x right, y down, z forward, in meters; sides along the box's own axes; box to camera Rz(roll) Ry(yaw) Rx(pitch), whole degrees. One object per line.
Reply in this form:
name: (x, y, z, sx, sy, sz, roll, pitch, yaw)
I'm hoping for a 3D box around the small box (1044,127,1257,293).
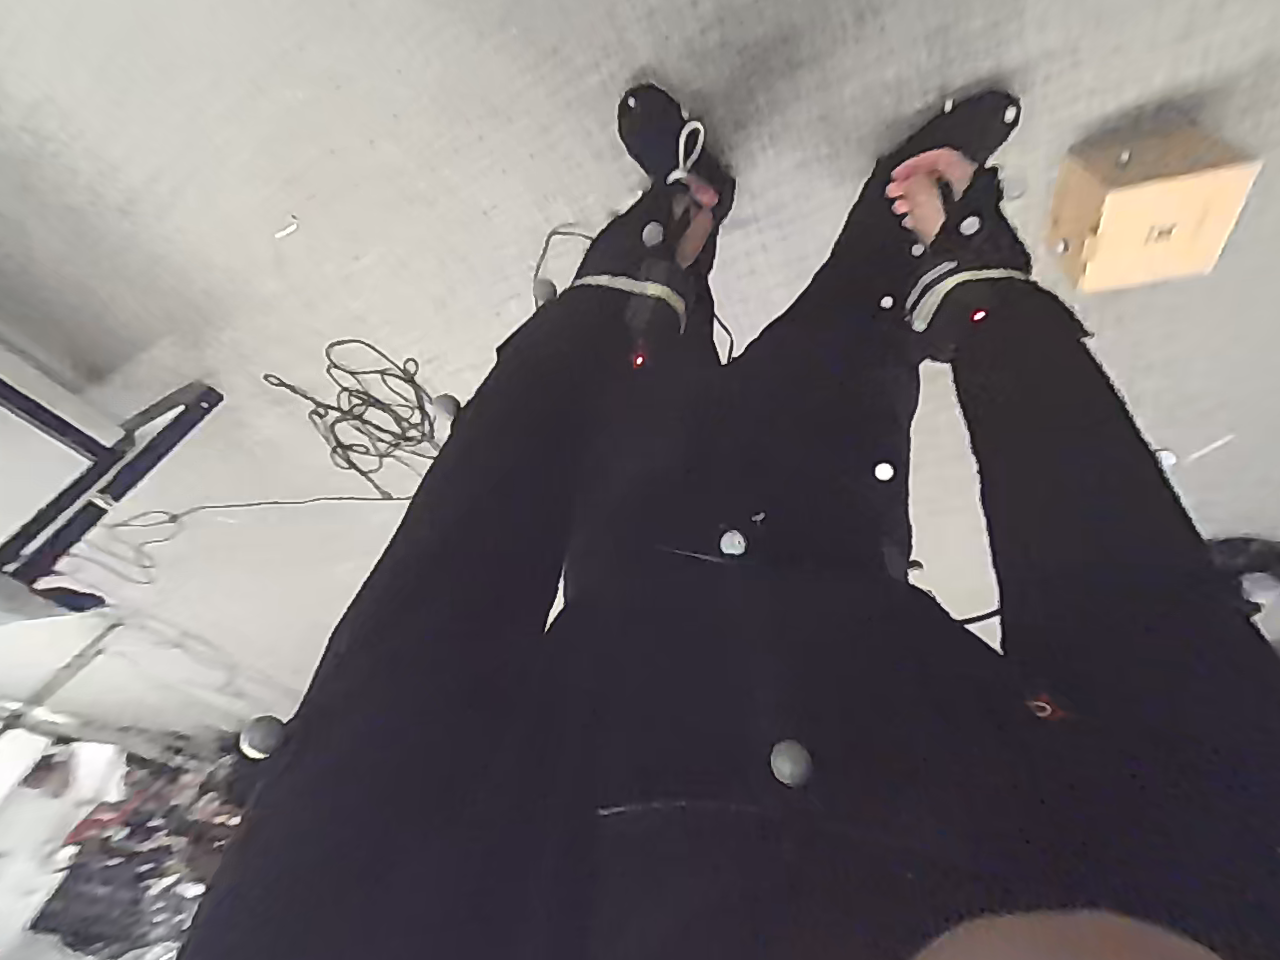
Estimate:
small box: (0.784, -0.427, 0.860, 0.179, 0.176, 0.168, -6, 137, 18)
